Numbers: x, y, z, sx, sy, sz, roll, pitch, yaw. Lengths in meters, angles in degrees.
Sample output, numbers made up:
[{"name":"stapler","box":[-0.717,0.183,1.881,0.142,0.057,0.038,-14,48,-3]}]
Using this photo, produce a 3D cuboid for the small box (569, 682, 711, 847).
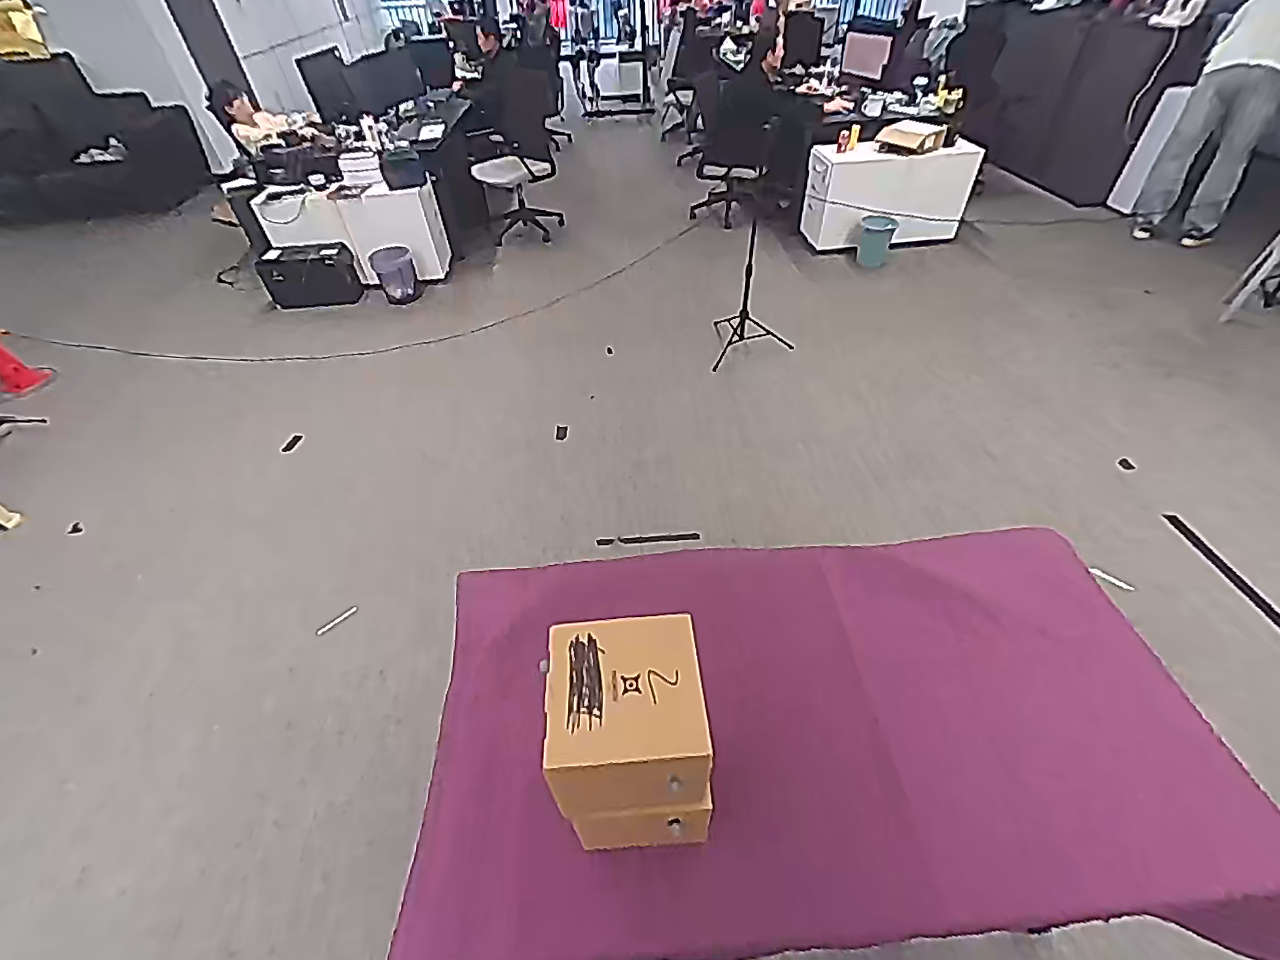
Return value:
[{"name":"small box","box":[-0.002,0.404,0.767,0.179,0.176,0.168,-3,45,-1]}]
